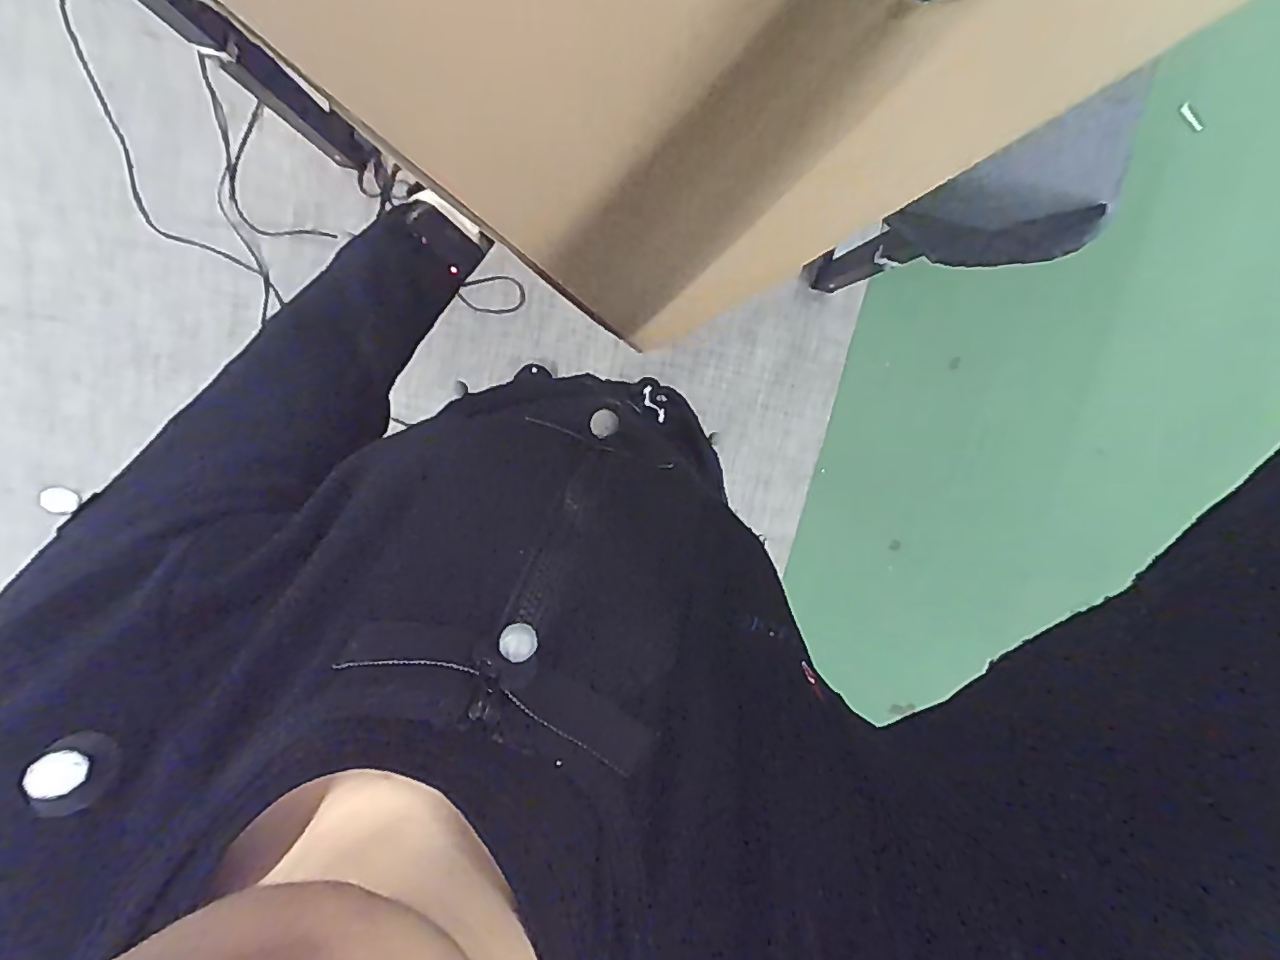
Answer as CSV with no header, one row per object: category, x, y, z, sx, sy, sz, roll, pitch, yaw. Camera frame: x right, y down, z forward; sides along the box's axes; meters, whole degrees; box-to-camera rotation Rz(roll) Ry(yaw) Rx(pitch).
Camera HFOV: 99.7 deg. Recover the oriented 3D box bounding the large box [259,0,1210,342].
large box,0.067,-0.340,0.259,0.408,0.320,0.320,-29,70,21
